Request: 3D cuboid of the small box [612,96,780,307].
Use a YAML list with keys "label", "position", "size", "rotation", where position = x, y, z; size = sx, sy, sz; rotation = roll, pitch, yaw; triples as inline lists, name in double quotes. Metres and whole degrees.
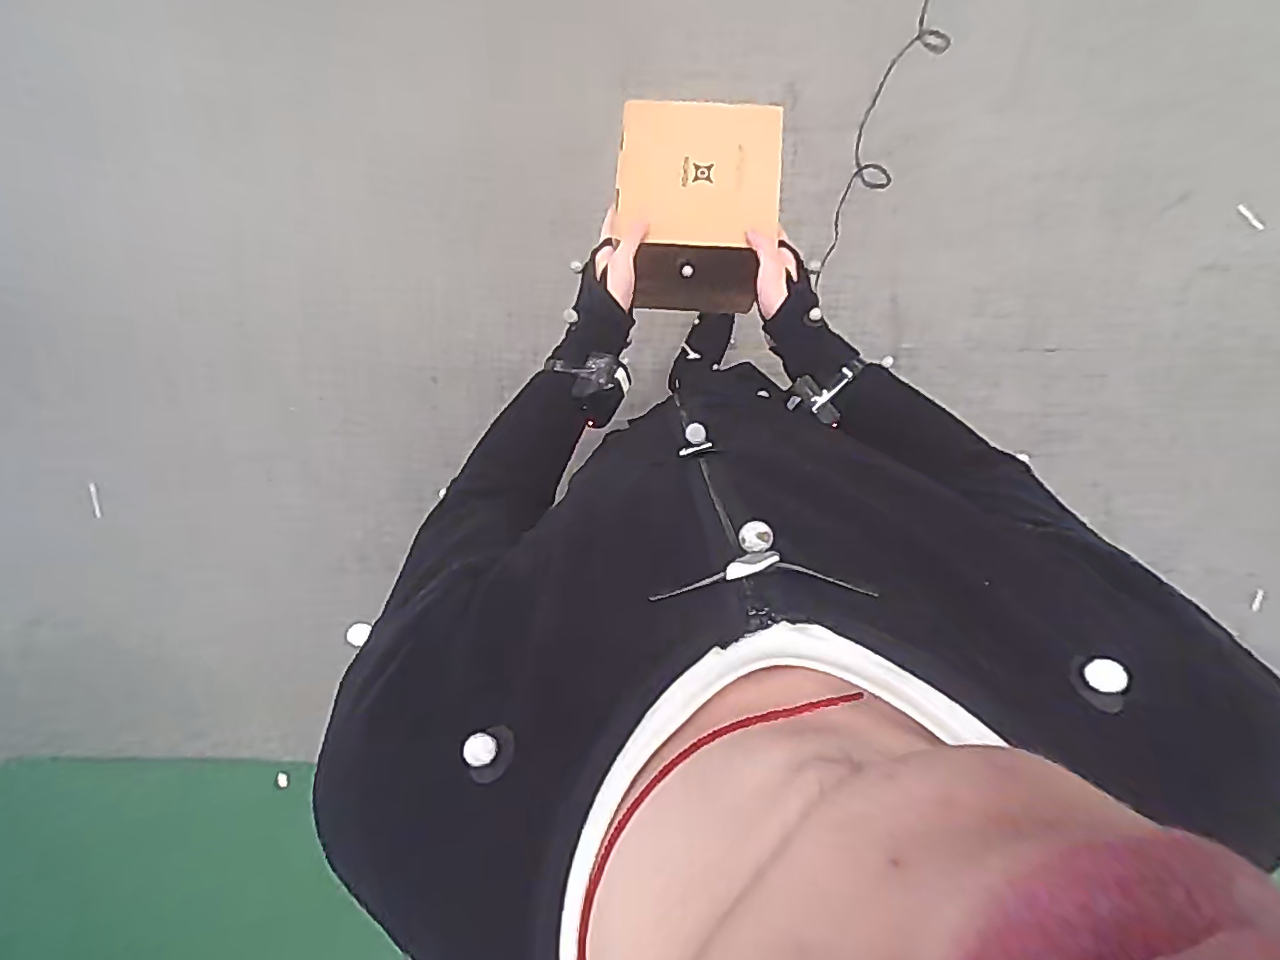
- label: "small box"
  position: [0.062, -0.325, 0.660]
  size: [0.179, 0.176, 0.168]
  rotation: [3, 84, 0]
